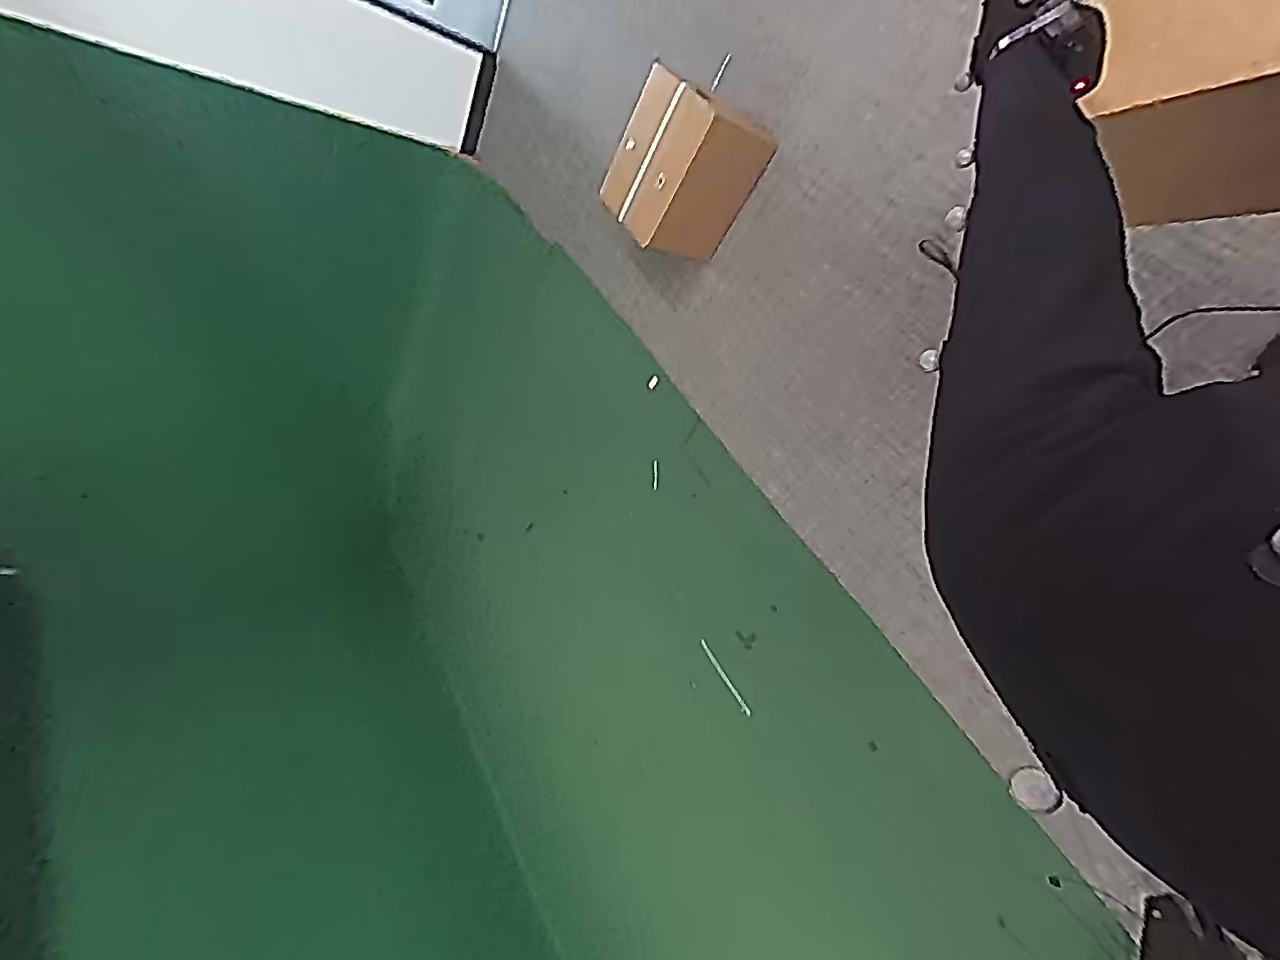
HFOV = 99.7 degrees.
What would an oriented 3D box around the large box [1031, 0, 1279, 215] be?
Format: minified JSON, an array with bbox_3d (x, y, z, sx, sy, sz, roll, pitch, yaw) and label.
[{"bbox_3d":[0.627,-0.453,0.438,0.408,0.320,0.320,19,105,50],"label":"large box"}]
